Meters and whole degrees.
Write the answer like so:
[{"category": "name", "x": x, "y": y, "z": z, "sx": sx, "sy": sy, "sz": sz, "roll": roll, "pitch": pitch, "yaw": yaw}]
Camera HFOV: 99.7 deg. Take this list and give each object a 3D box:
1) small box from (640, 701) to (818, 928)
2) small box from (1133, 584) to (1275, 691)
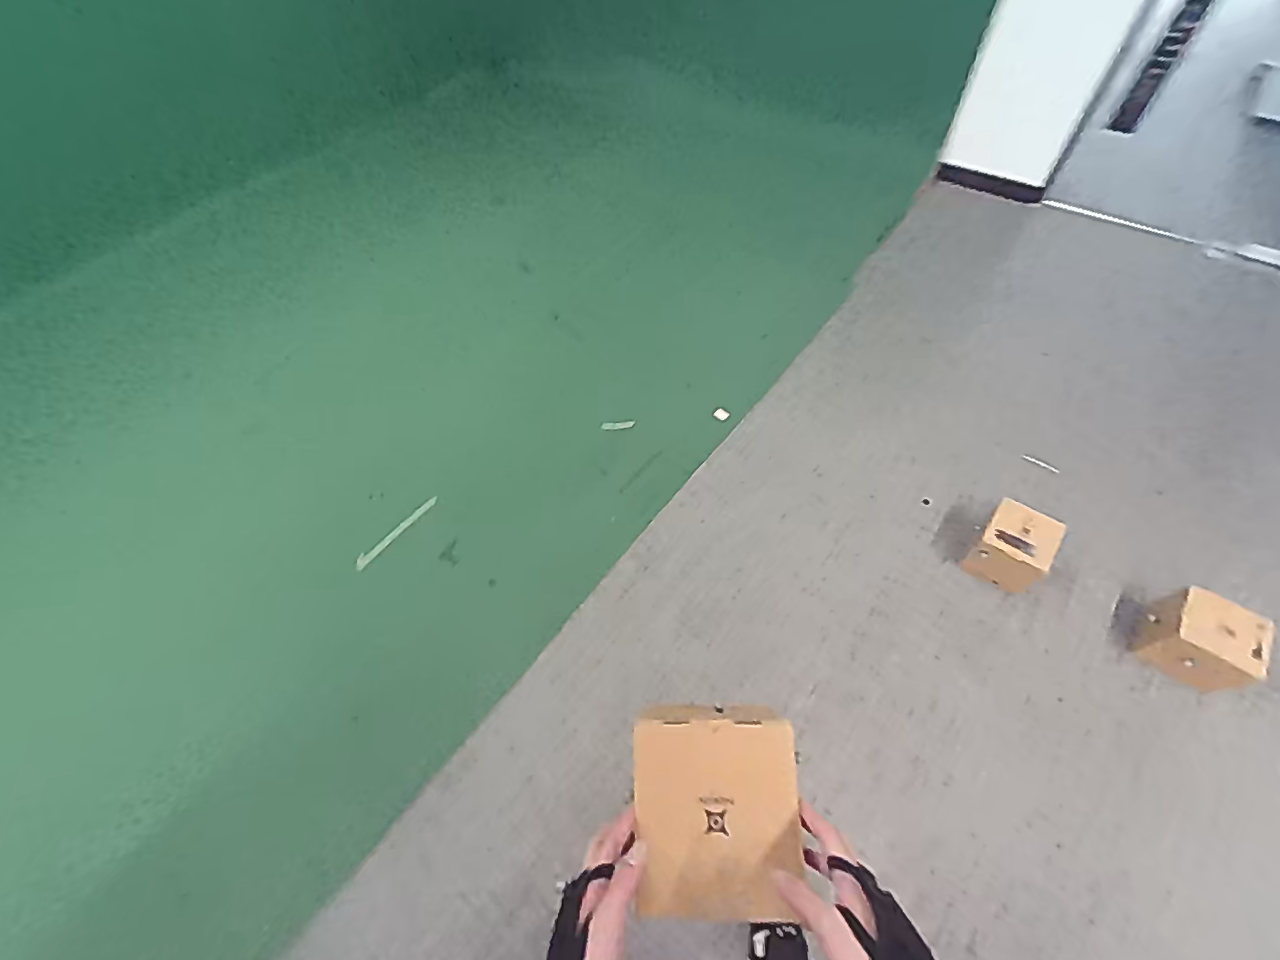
[{"category": "small box", "x": 0.091, "y": 0.347, "z": 0.596, "sx": 0.168, "sy": 0.176, "sz": 0.179, "roll": -1, "pitch": 71, "yaw": 5}, {"category": "small box", "x": 1.392, "y": 0.397, "z": 1.347, "sx": 0.179, "sy": 0.176, "sz": 0.168, "roll": 32, "pitch": 65, "yaw": 22}]
